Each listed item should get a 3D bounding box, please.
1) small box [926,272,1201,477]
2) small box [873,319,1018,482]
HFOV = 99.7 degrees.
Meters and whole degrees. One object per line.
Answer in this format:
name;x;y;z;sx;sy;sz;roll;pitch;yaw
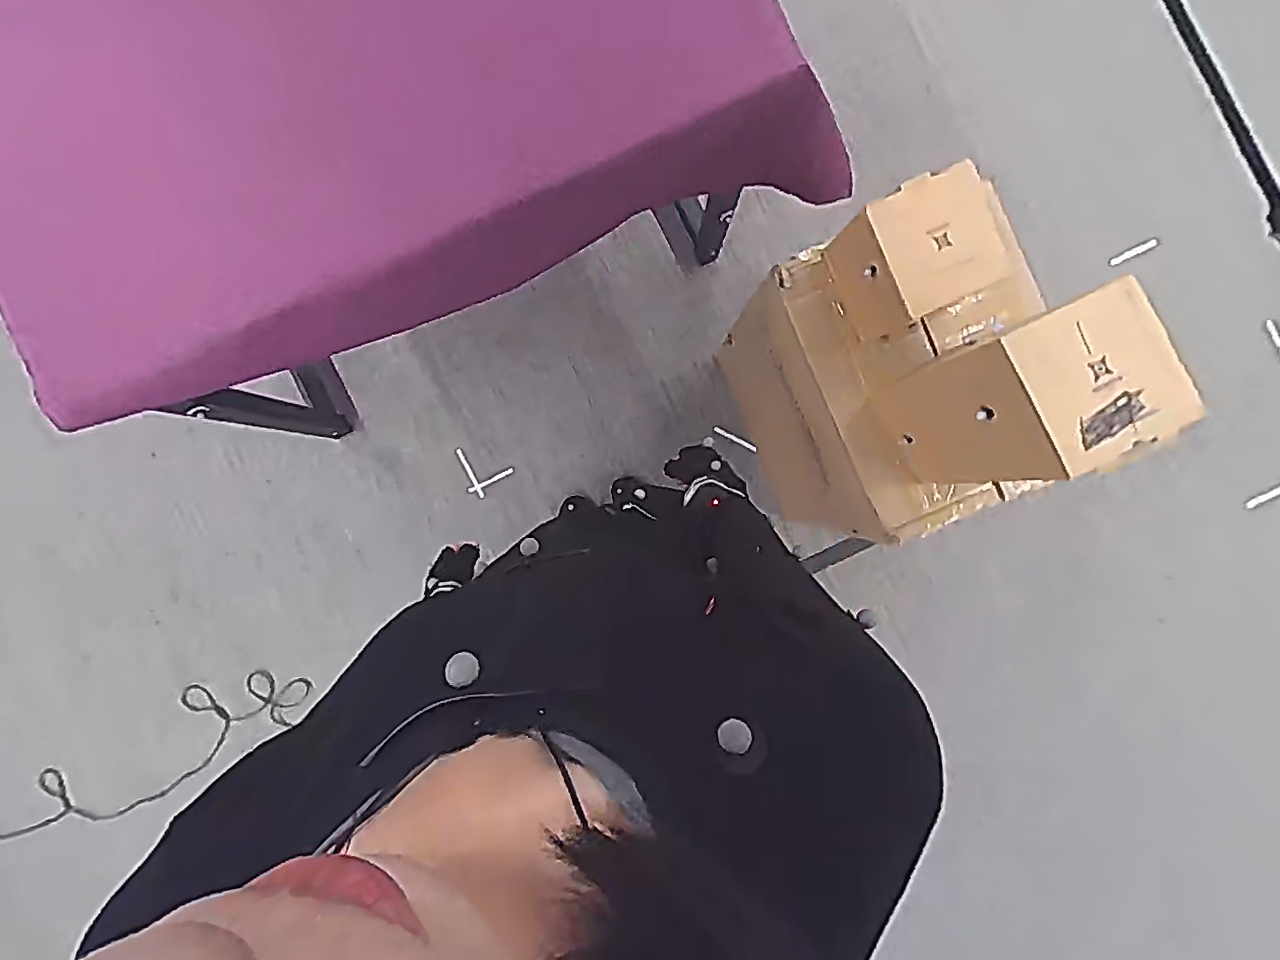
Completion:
small box;0.497;-0.115;0.665;0.168;0.176;0.179;-26;88;0
small box;0.500;-0.112;0.830;0.168;0.176;0.179;-31;89;-1
